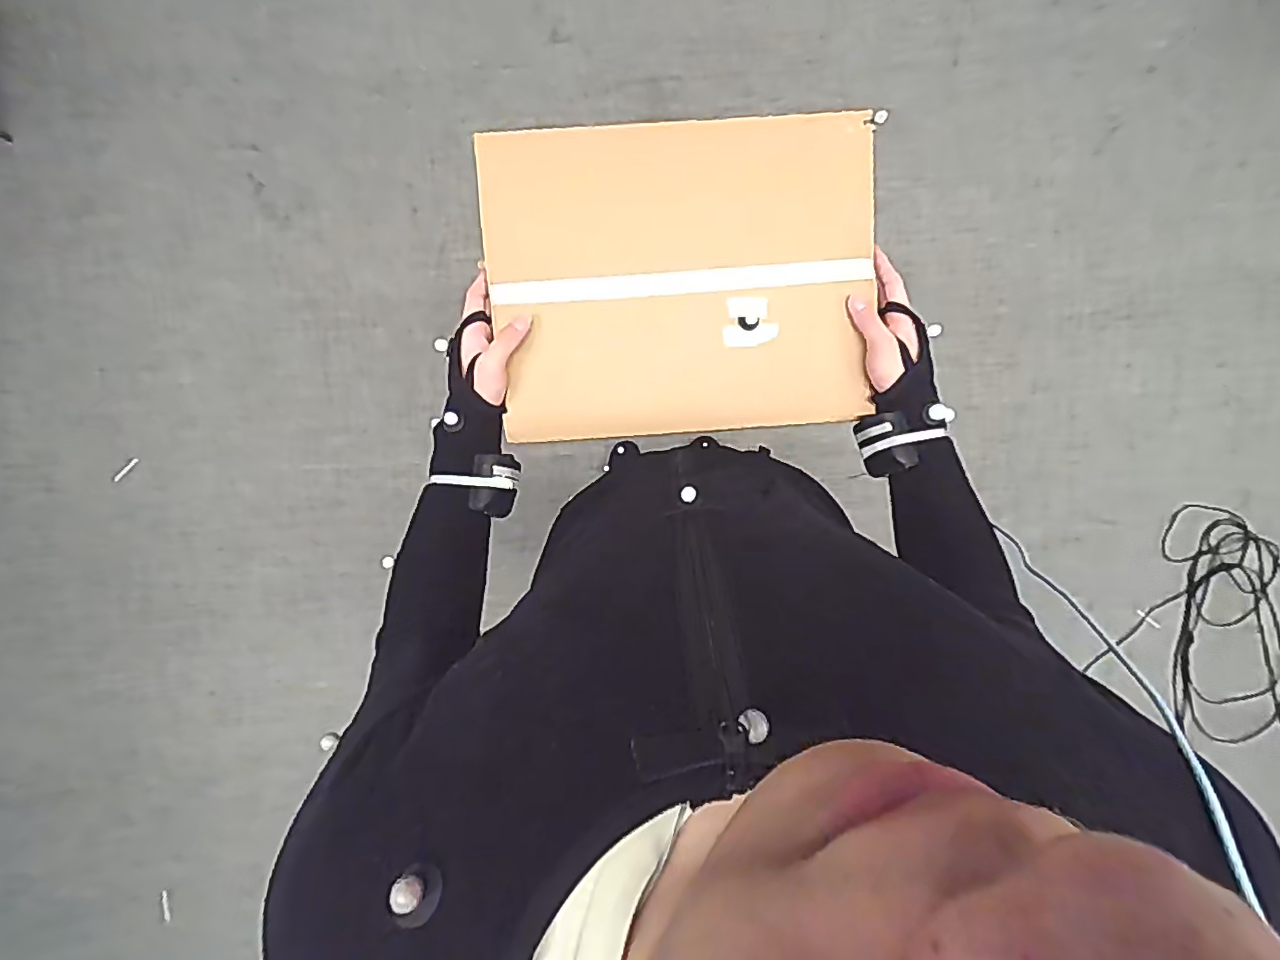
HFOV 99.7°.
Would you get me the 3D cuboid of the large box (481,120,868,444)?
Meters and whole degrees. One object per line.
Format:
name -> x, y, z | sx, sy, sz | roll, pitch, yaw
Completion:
large box -> 0.038, -0.225, 0.726 | 0.408, 0.320, 0.320 | -4, 97, -2
